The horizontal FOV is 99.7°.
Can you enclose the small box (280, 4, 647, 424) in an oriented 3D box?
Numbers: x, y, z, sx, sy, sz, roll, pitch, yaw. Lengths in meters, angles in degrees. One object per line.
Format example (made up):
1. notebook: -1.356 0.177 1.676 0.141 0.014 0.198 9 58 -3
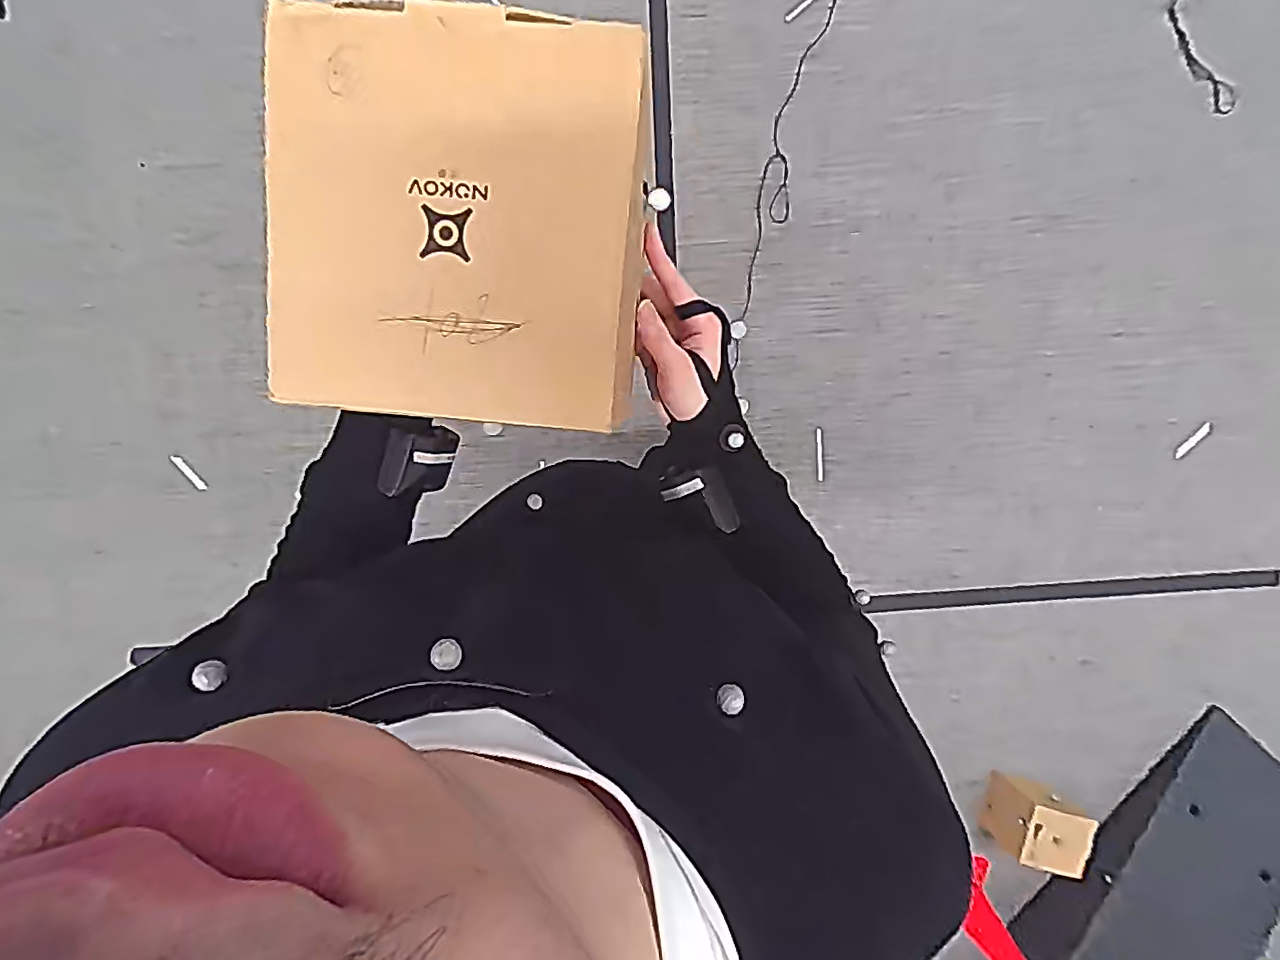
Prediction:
1. small box: -0.085 -0.133 0.334 0.168 0.176 0.179 6 99 1
